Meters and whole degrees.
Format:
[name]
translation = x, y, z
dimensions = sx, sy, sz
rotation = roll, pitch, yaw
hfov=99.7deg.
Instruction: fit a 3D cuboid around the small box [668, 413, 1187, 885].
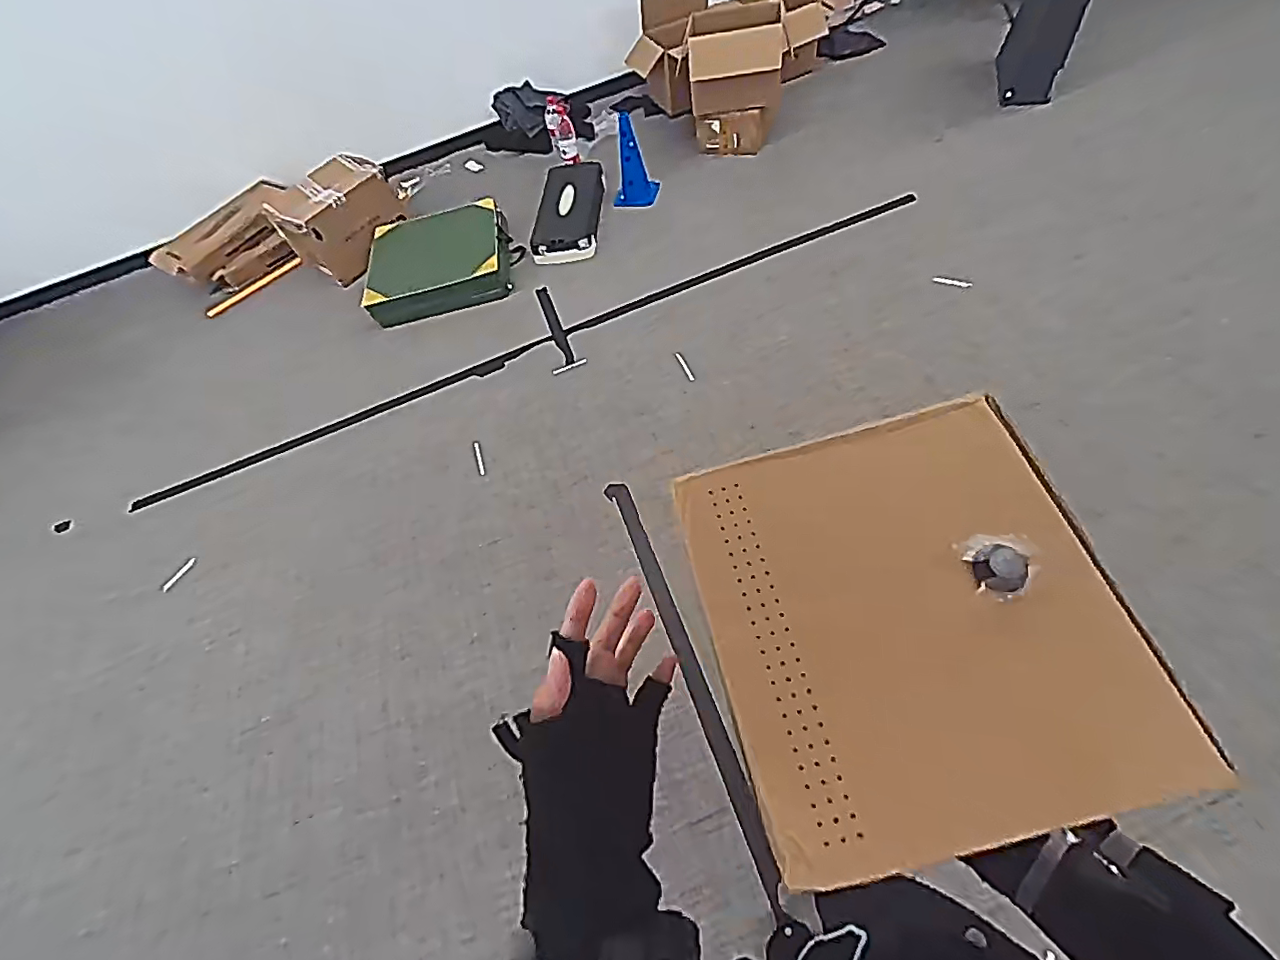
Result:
[small box]
translation = 0.120, 0.094, 0.314
dimensions = 0.176, 0.168, 0.179
rotation = -16, 64, 1
